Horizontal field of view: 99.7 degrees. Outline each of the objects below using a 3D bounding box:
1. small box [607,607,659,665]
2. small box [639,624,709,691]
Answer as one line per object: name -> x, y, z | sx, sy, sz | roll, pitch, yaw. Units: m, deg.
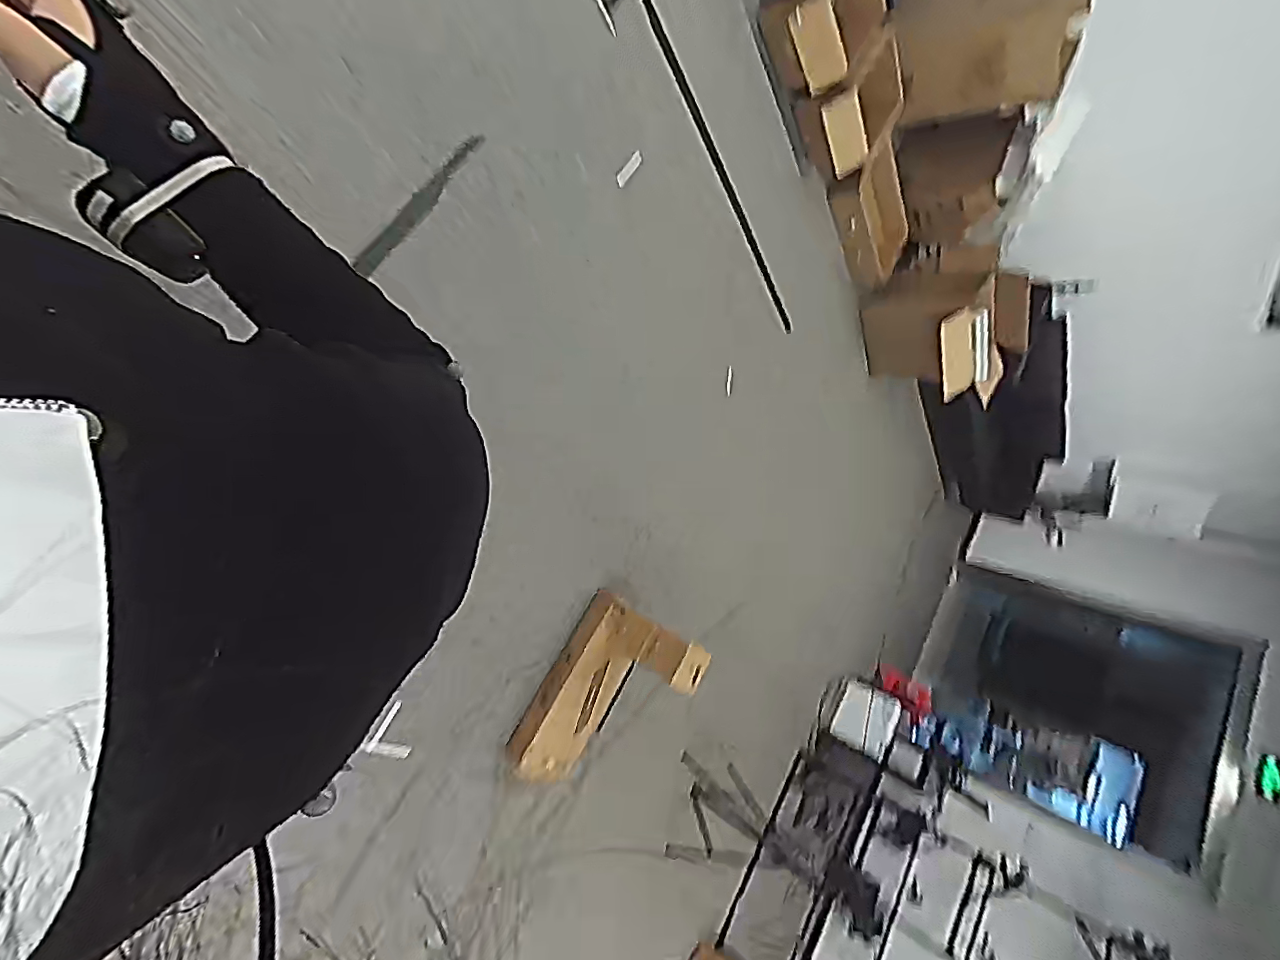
small box -> 0.003, 0.633, 2.167 | 0.179, 0.176, 0.168 | 45, 69, -44
small box -> 0.129, 0.675, 2.068 | 0.179, 0.176, 0.168 | 44, 71, -45
